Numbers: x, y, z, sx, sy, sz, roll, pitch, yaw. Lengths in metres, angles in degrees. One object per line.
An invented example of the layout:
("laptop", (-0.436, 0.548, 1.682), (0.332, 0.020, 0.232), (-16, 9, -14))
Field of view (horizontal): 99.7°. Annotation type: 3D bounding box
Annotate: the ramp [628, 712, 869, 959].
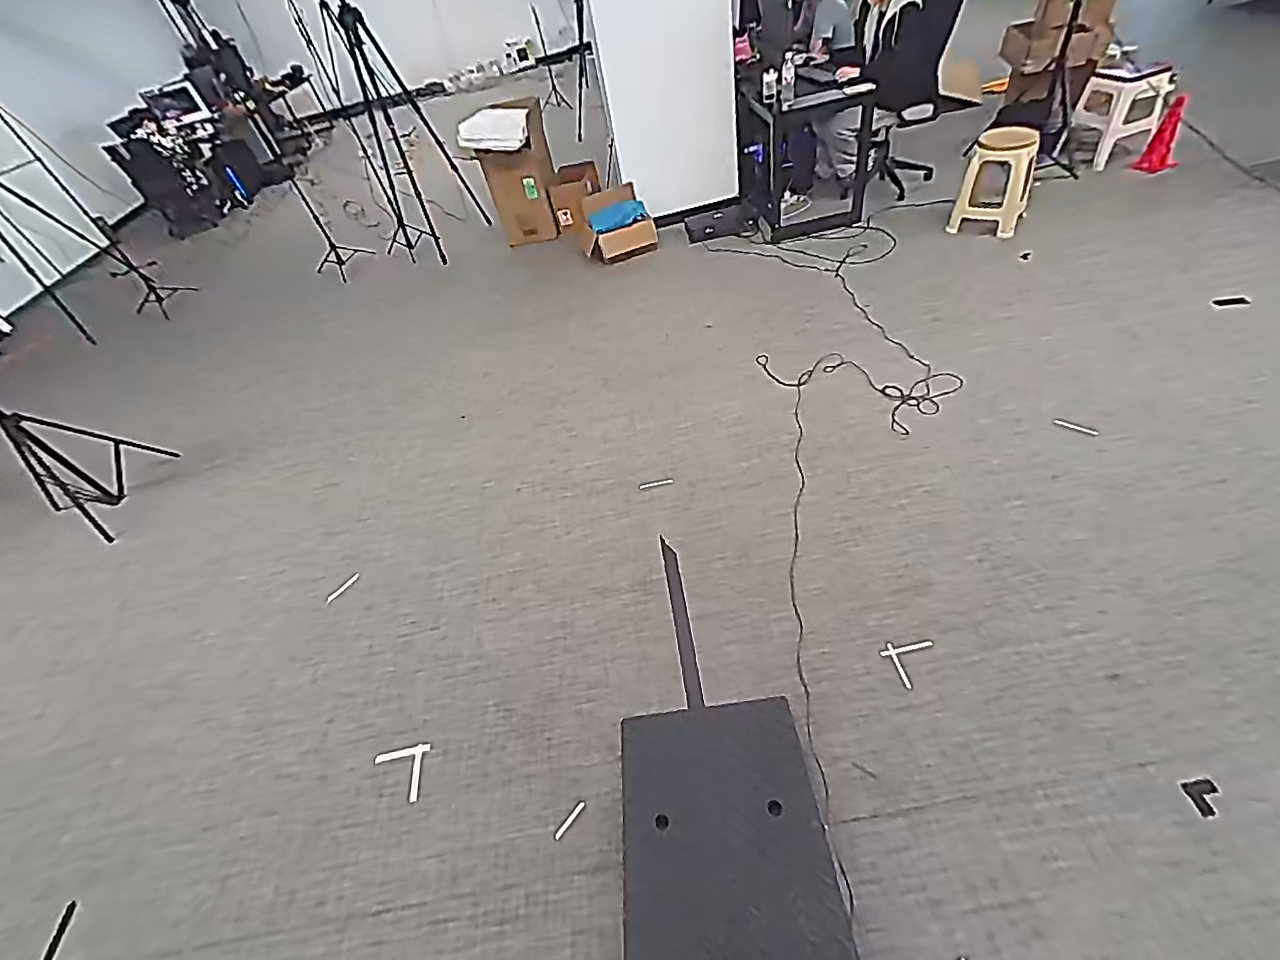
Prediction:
("ramp", (0.226, 0.995, 1.166), (0.509, 0.206, 0.991), (-13, 43, 4))
